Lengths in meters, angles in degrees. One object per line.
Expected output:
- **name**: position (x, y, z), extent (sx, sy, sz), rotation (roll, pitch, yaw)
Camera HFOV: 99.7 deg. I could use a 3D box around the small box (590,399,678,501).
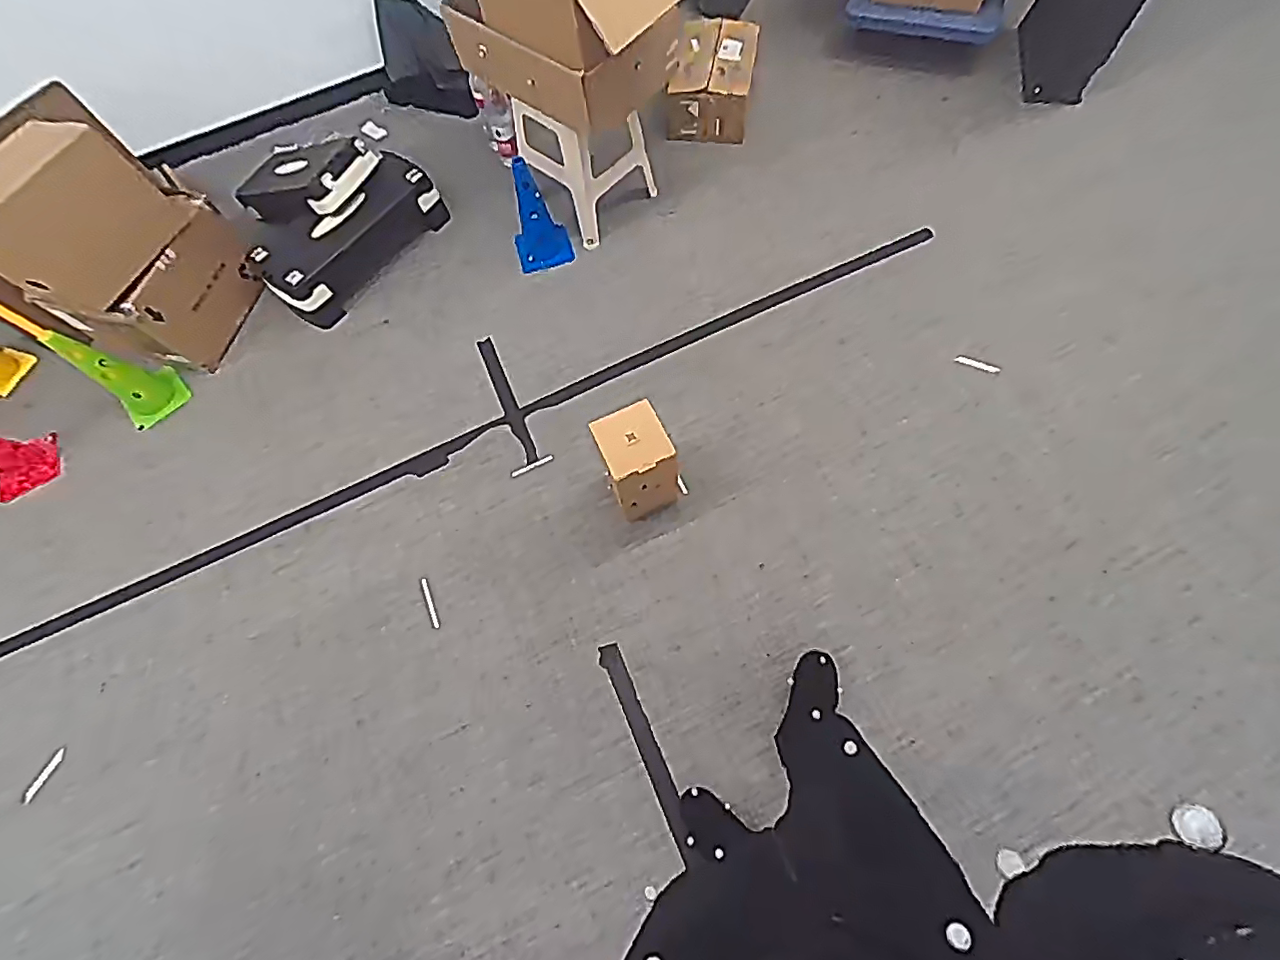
- **small box**: position (-0.014, -0.073, 1.397), extent (0.168, 0.176, 0.179), rotation (-25, 67, -6)
